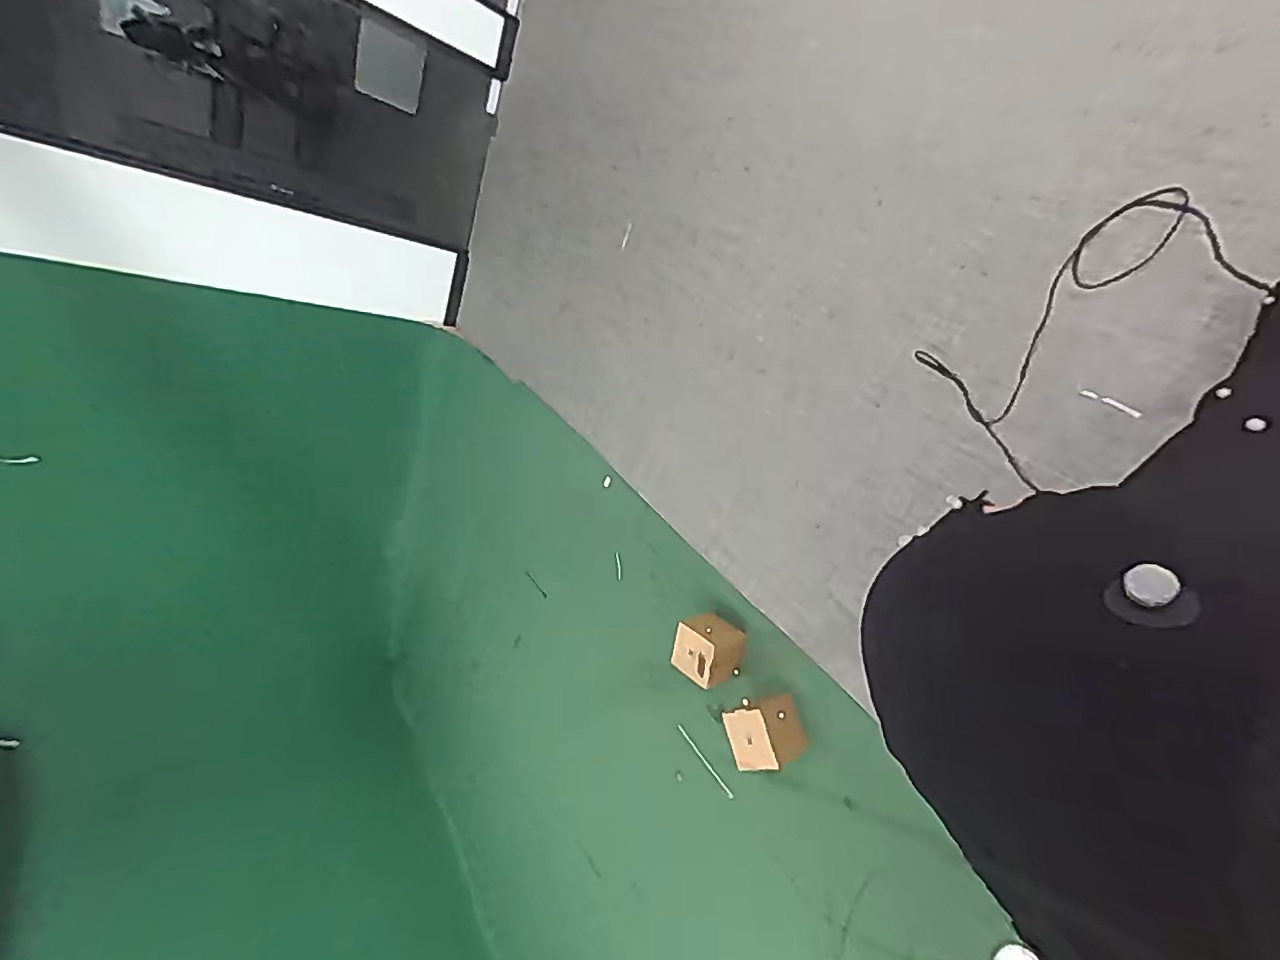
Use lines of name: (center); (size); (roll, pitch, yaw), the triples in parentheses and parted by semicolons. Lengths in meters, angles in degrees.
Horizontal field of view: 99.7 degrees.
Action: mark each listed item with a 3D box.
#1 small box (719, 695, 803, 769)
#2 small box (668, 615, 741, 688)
small box: (0.384, 0.795, 1.715); (0.168, 0.176, 0.179); (-32, 69, 43)
small box: (0.227, 0.586, 1.877); (0.179, 0.176, 0.168); (24, 108, 45)
